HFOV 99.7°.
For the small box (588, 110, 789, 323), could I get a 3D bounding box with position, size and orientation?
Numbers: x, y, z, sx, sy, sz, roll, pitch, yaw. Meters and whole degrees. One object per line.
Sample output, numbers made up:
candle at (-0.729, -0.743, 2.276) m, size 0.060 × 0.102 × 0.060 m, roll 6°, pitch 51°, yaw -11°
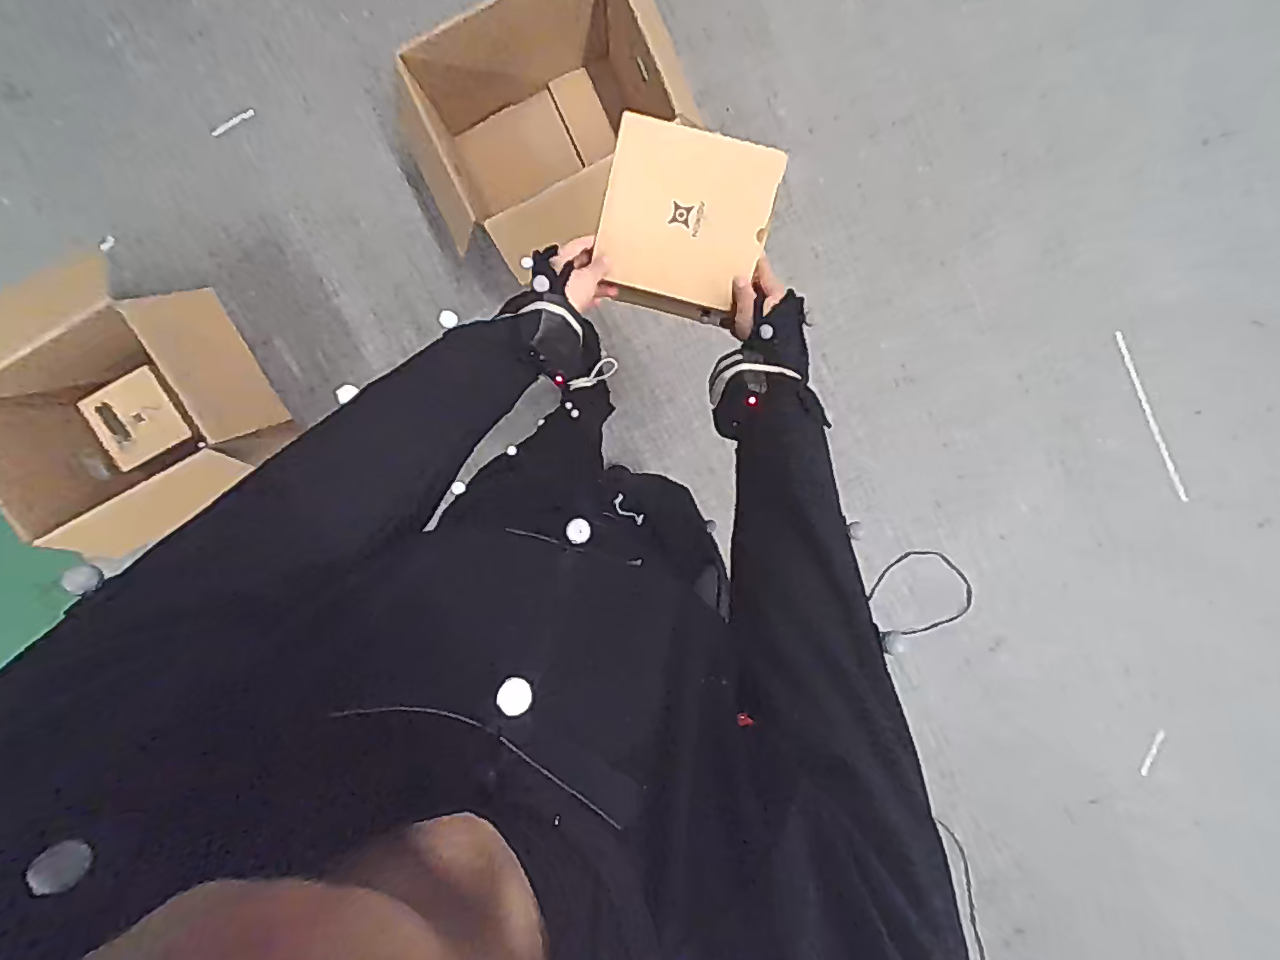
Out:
small box at (0.052, -0.291, 0.638) m, size 0.179 × 0.176 × 0.168 m, roll 14°, pitch 101°, yaw 0°
